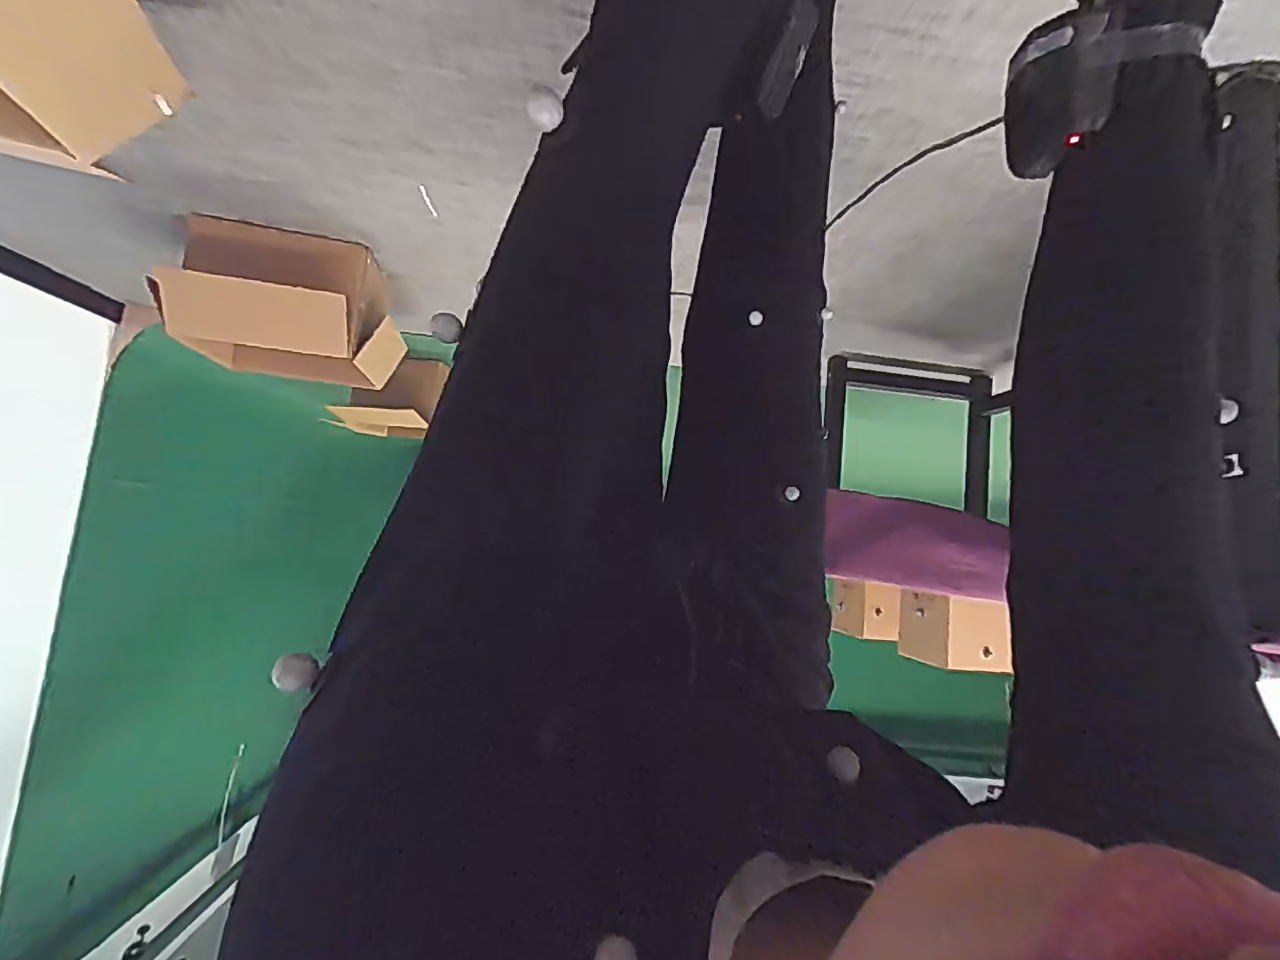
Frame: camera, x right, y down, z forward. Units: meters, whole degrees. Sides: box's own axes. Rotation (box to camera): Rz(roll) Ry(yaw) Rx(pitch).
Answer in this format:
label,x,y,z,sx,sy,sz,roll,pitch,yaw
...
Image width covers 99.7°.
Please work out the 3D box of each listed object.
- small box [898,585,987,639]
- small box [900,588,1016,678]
label,x,y,z,sx,sy,sz,roll,pitch,yaw
small box,0.905,0.410,1.619,0.179,0.176,0.168,8,173,-12
small box,0.740,0.351,1.260,0.179,0.176,0.168,7,173,-10
